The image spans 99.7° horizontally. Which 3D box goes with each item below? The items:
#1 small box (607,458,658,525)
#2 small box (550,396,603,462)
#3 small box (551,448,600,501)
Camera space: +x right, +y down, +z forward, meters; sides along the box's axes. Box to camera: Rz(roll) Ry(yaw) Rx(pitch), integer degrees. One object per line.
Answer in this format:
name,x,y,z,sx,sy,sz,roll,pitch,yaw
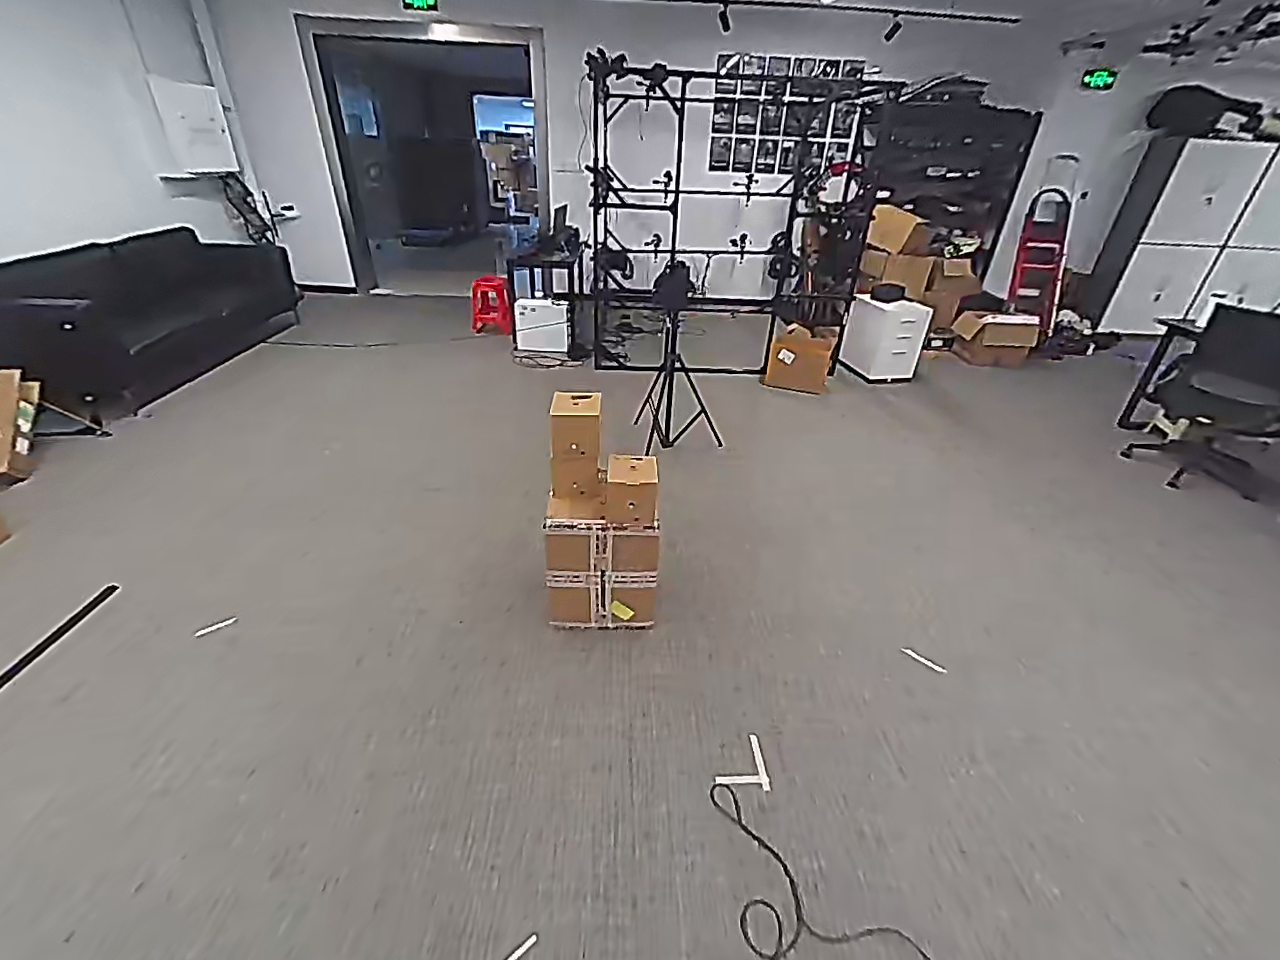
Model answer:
small box,-0.026,0.040,1.843,0.168,0.176,0.179,2,33,-2
small box,-0.213,-0.178,1.870,0.168,0.176,0.179,-1,34,-1
small box,-0.231,-0.042,1.962,0.168,0.176,0.179,-3,33,-4
